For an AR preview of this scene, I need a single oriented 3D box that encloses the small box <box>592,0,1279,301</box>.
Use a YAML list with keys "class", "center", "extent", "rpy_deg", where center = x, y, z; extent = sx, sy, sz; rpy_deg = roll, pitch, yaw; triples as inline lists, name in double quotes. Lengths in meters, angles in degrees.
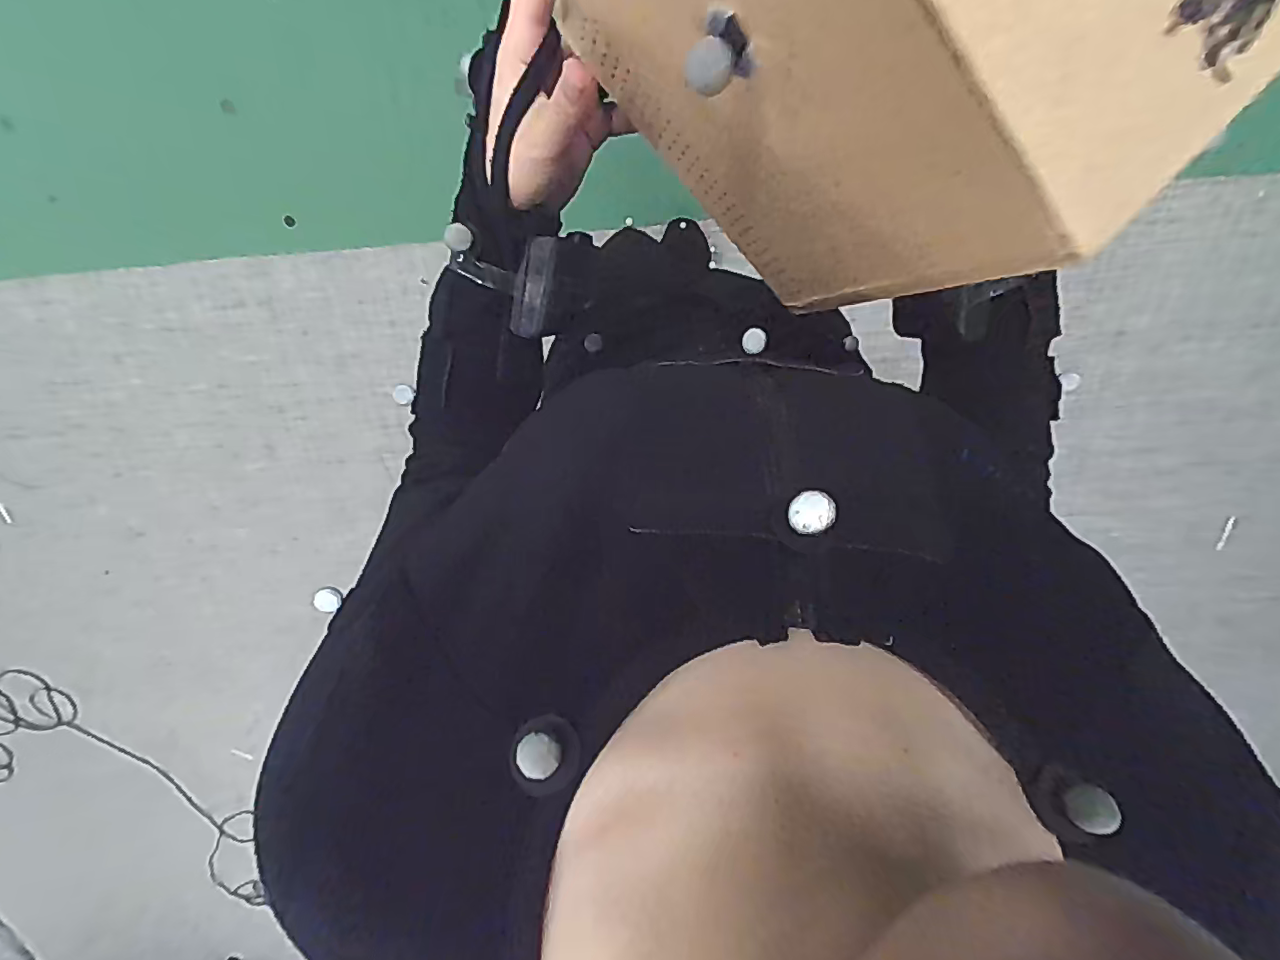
- class: "small box"
  center: [0.095, -0.186, 0.195]
  extent: [0.179, 0.176, 0.168]
  rpy_deg: [43, 95, -14]
